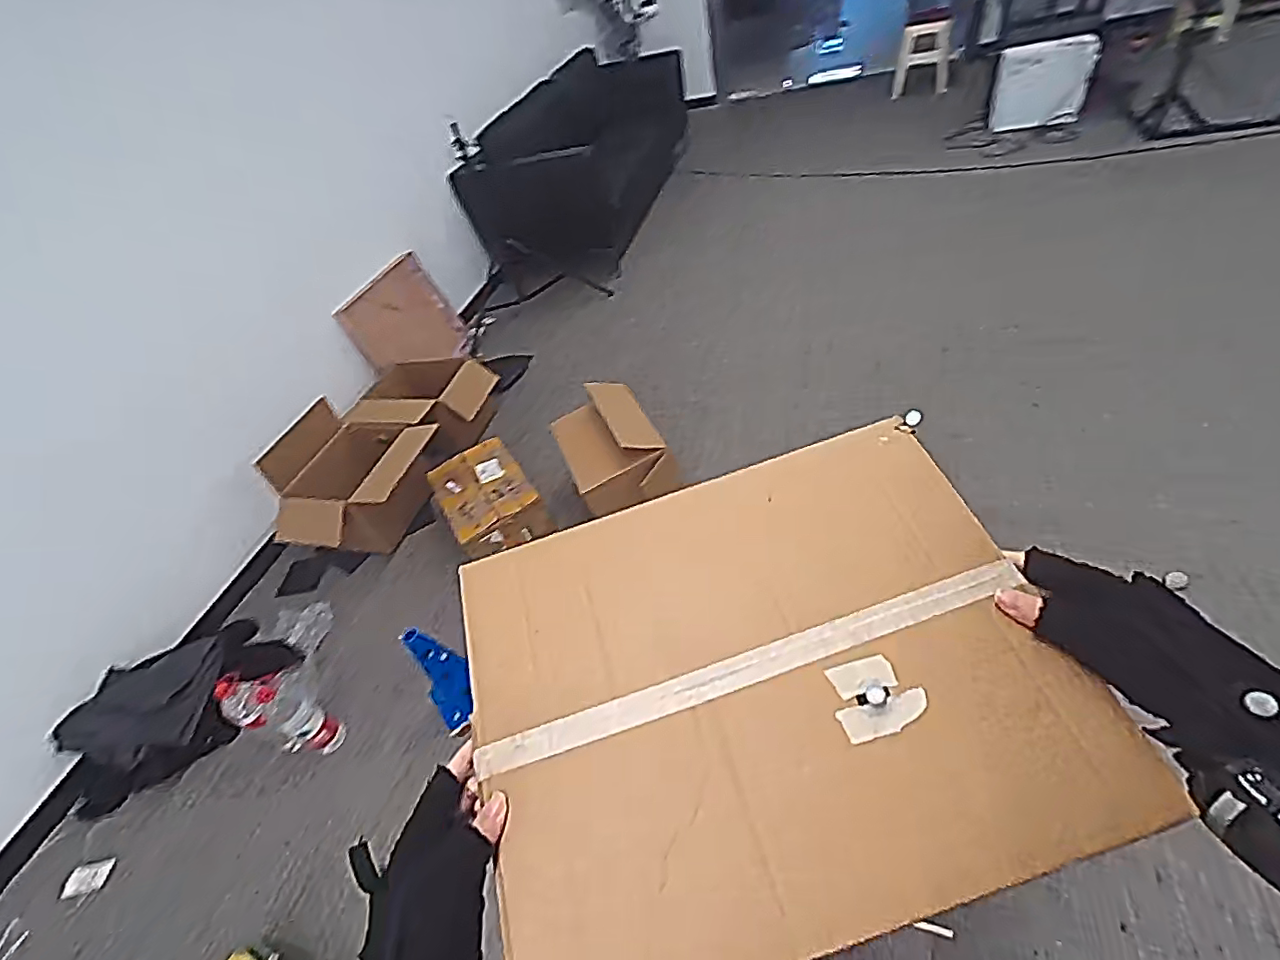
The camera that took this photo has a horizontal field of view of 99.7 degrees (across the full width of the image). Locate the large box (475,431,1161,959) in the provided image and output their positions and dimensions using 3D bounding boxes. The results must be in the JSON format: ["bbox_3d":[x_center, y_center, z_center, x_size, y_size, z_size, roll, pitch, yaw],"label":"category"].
[{"bbox_3d":[0.107,0.218,0.521,0.408,0.320,0.320,-19,58,-2],"label":"large box"}]
